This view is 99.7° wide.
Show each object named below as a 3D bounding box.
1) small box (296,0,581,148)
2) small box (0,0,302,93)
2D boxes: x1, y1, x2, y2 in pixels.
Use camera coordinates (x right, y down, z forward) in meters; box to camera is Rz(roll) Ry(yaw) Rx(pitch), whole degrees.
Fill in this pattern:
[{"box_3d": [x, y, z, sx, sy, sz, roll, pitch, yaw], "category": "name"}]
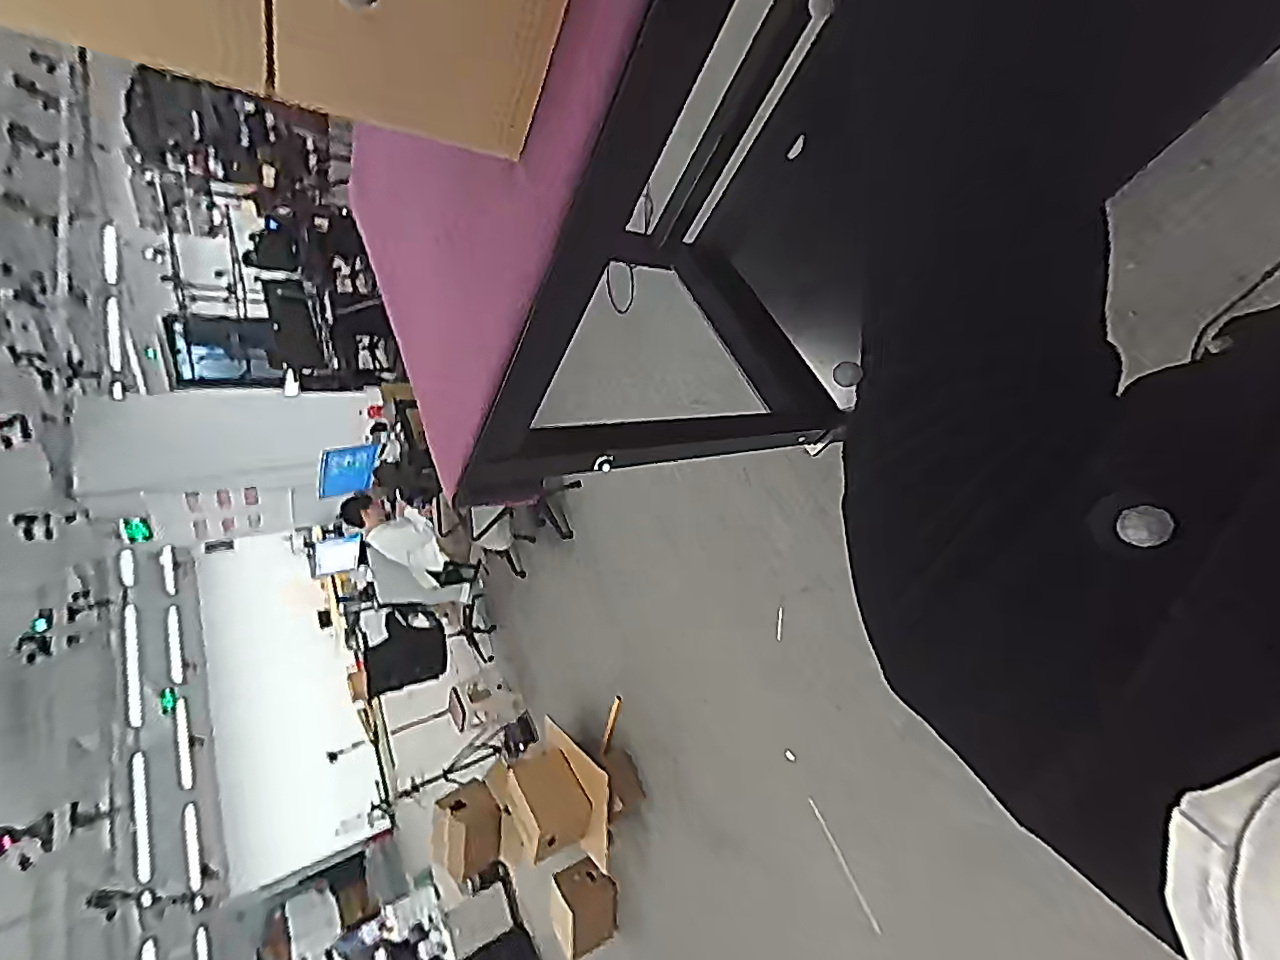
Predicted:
[{"box_3d": [-0.146, -0.367, 0.368, 0.179, 0.176, 0.168, -50, 57, 47], "category": "small box"}, {"box_3d": [-0.279, -0.348, 0.273, 0.179, 0.176, 0.168, -51, 56, 47], "category": "small box"}]
